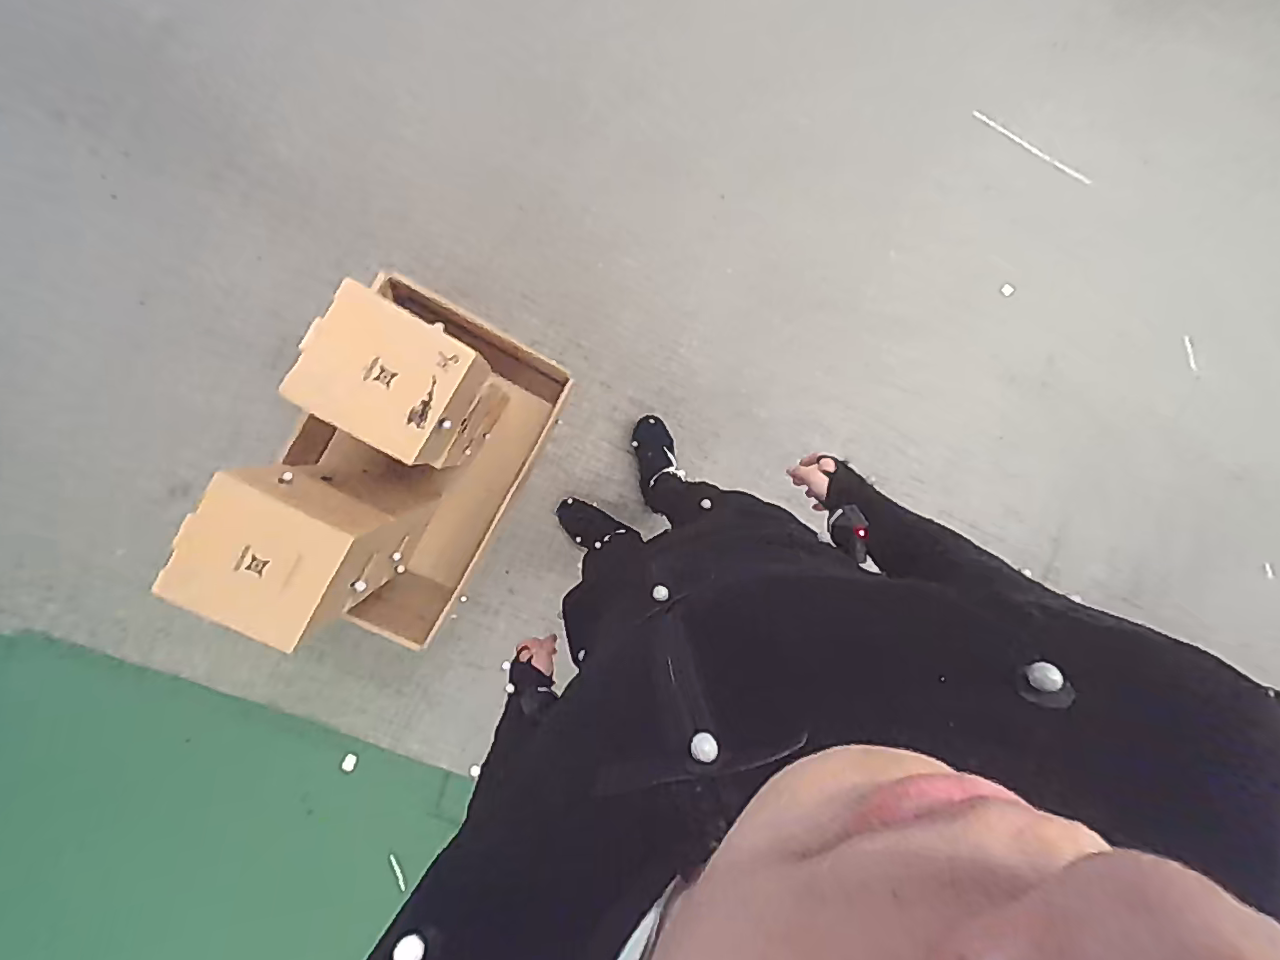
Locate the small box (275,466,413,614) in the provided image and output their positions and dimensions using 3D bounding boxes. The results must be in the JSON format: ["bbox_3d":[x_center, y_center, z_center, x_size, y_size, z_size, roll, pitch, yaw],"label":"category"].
[{"bbox_3d":[-0.503,0.087,0.876,0.179,0.176,0.168,28,90,-9],"label":"small box"}]

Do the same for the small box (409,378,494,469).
[{"bbox_3d":[-0.359,-0.134,0.886,0.179,0.176,0.168,31,88,-9],"label":"small box"}]

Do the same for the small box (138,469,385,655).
[{"bbox_3d":[-0.478,0.096,0.715,0.179,0.176,0.168,29,90,-9],"label":"small box"}]

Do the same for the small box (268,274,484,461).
[{"bbox_3d":[-0.334,-0.136,0.724,0.179,0.176,0.168,30,89,-9],"label":"small box"}]

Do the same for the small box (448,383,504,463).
[{"bbox_3d":[-0.383,-0.144,1.049,0.179,0.176,0.168,30,89,-10],"label":"small box"}]
